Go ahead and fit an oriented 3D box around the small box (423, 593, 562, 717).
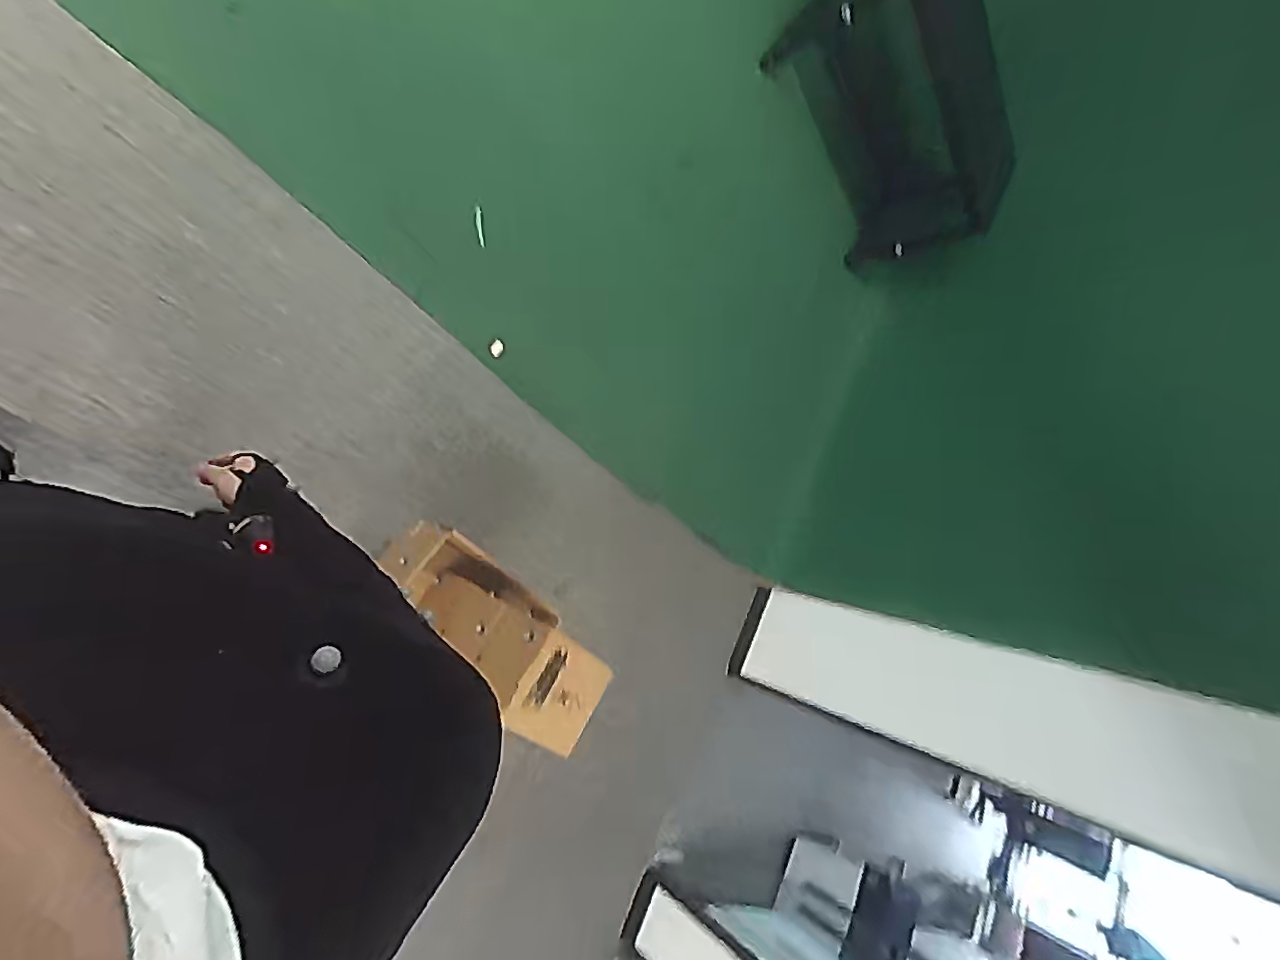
[{"bbox_3d":[-0.302,0.351,1.108,0.179,0.176,0.168,47,62,-35],"label":"small box"}]
